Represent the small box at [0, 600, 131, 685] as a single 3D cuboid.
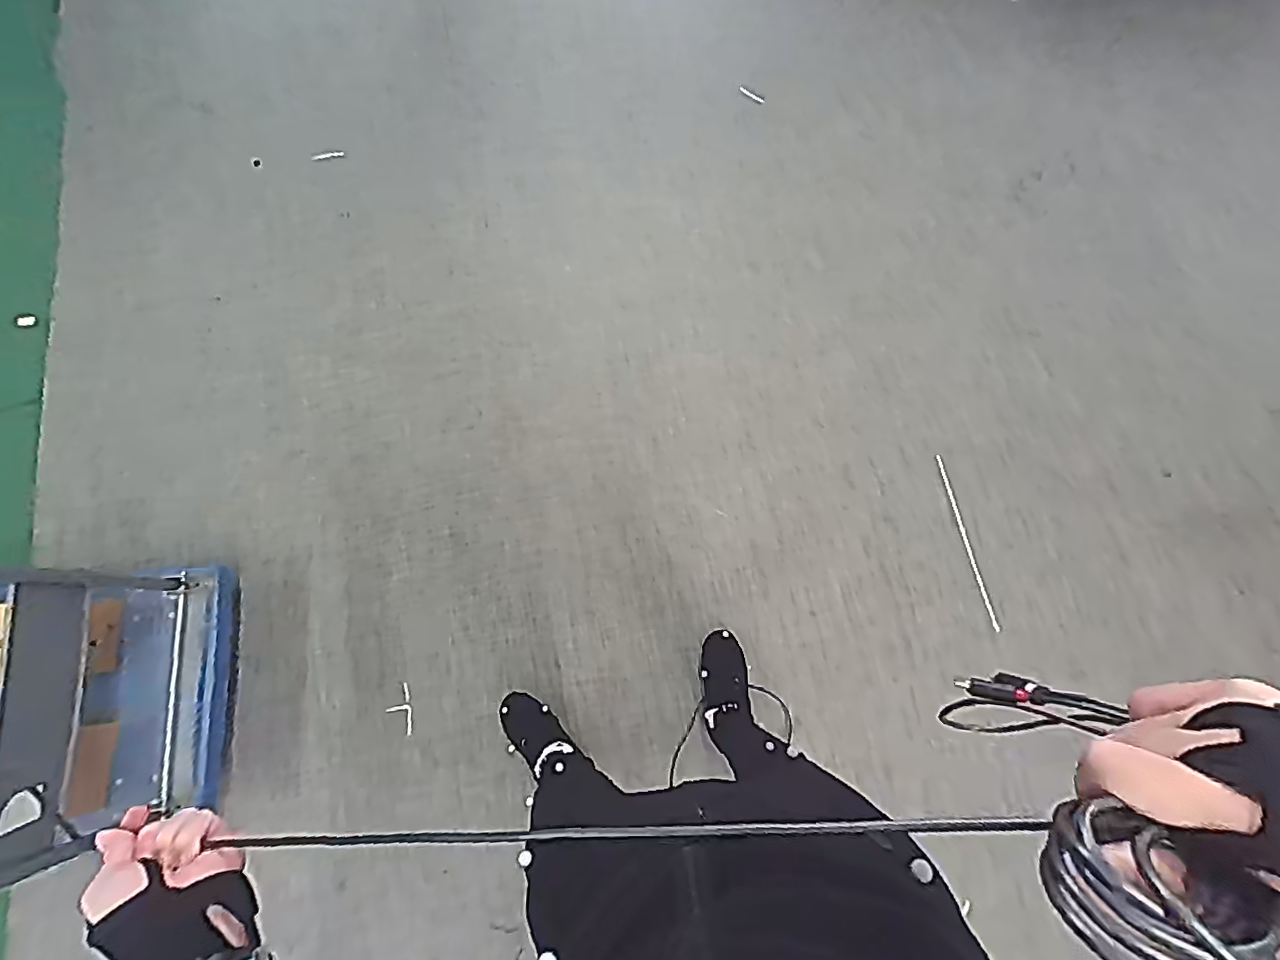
[{"bbox_3d":[-1.297,0.356,1.192,0.179,0.176,0.168,-4,77,-1],"label":"small box"}]
